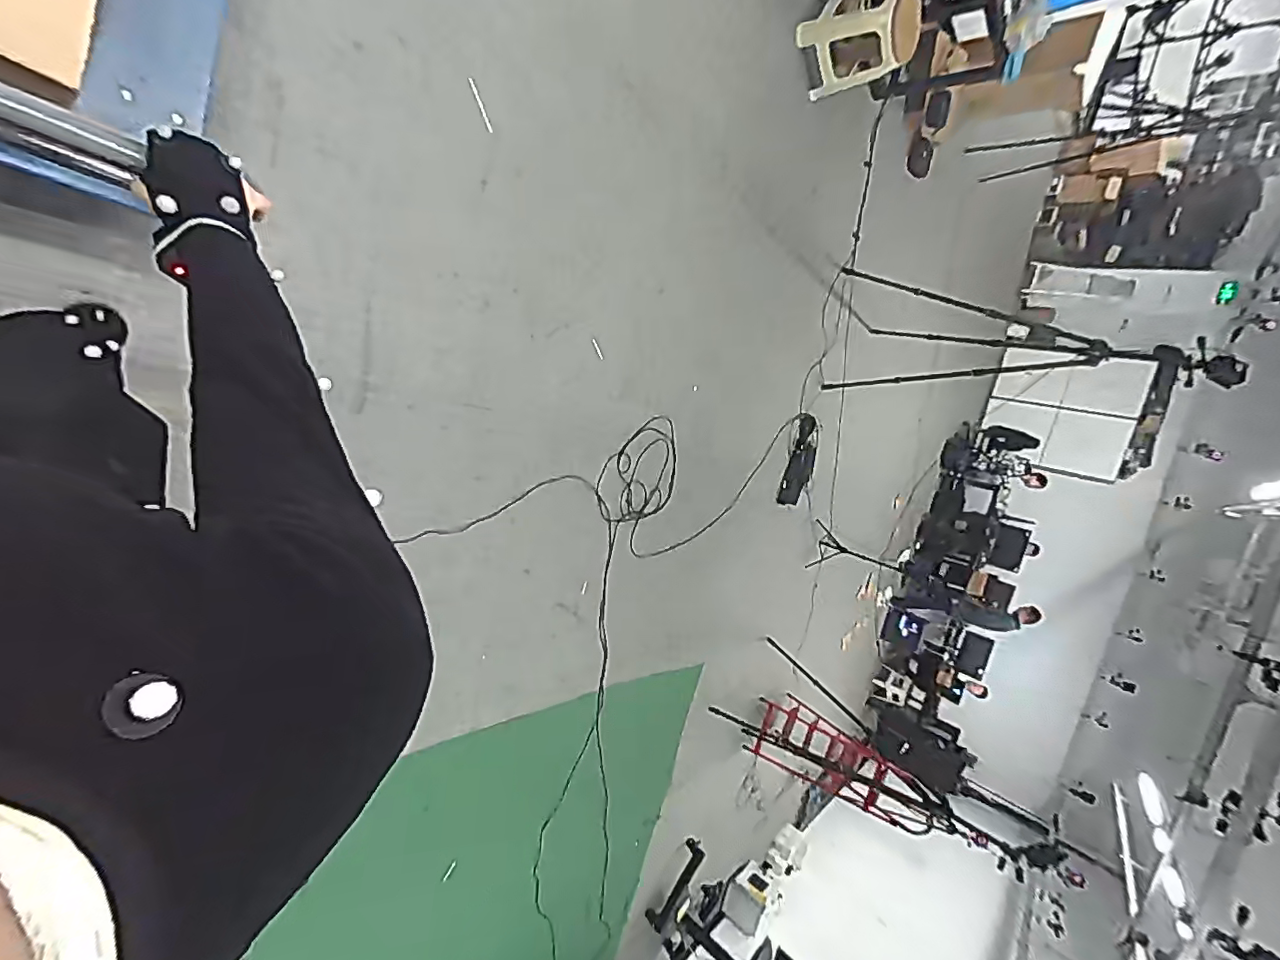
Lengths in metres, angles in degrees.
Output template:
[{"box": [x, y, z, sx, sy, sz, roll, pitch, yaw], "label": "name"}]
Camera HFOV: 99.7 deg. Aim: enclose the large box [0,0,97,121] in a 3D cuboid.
[{"box": [-0.922, -0.778, 0.698, 0.320, 0.320, 0.408, 8, 98, -51], "label": "large box"}]
